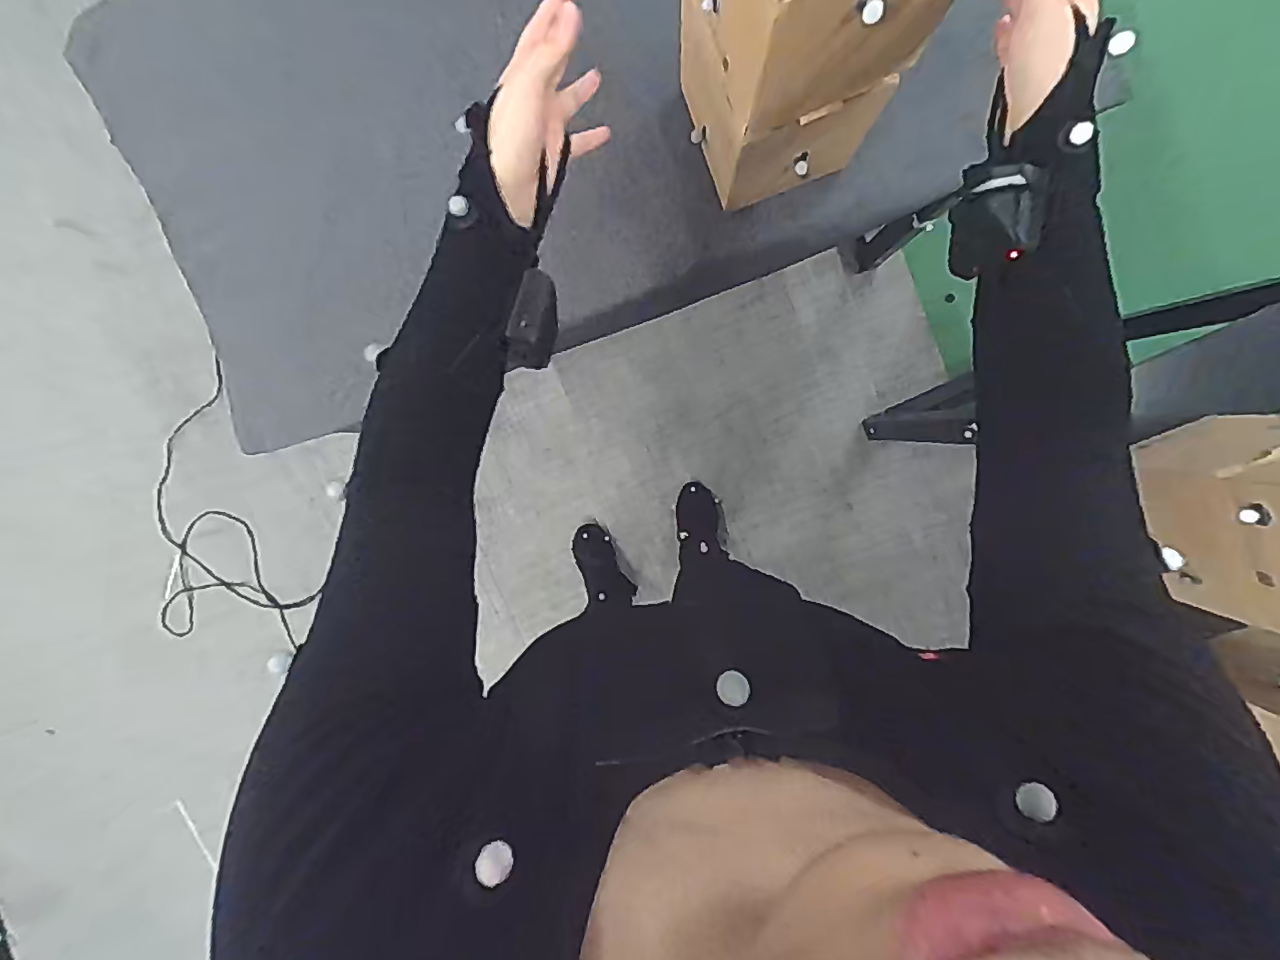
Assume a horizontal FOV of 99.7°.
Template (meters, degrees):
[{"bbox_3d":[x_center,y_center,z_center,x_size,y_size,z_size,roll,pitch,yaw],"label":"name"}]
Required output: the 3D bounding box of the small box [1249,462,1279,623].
[{"bbox_3d":[0.678,0.053,0.447,0.179,0.176,0.168,-20,95,5],"label":"small box"}]

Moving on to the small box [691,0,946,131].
[{"bbox_3d":[0.144,-0.433,0.434,0.179,0.176,0.168,-21,92,6],"label":"small box"}]

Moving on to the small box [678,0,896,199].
[{"bbox_3d":[0.148,-0.441,0.598,0.168,0.176,0.179,-20,93,6],"label":"small box"}]
